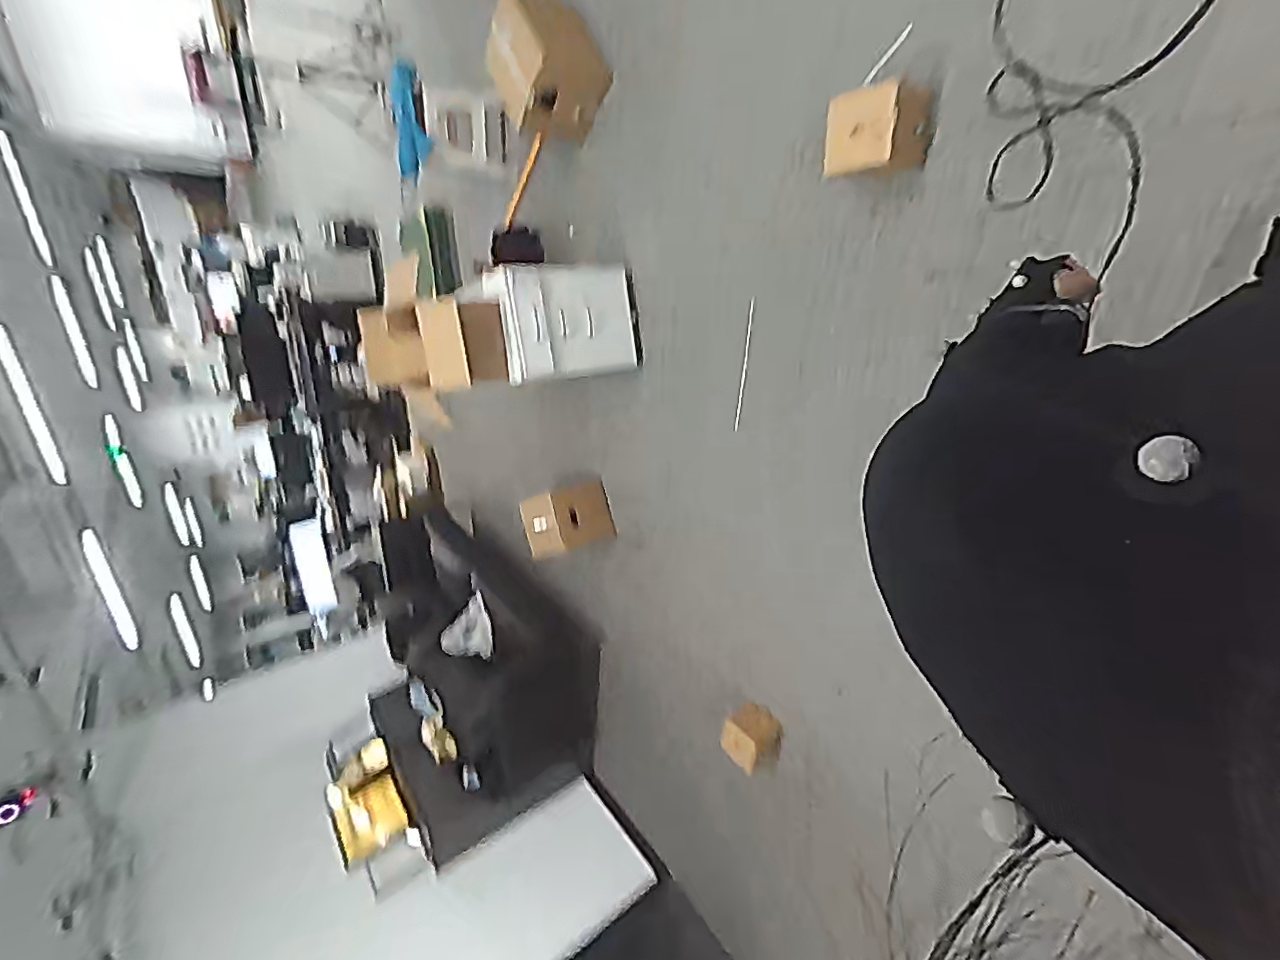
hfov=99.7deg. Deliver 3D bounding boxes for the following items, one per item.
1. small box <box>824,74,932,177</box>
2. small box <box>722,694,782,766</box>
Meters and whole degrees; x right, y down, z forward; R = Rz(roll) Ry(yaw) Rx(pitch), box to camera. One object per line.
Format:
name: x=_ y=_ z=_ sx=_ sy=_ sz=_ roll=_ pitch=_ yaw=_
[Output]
small box: x=0.583 y=-0.859 z=1.331 sx=0.179 sy=0.176 sz=0.168 roll=20 pitch=119 yaw=48
small box: x=0.468 y=1.036 z=2.250 sx=0.168 sy=0.176 sz=0.179 roll=31 pitch=125 yaw=43
